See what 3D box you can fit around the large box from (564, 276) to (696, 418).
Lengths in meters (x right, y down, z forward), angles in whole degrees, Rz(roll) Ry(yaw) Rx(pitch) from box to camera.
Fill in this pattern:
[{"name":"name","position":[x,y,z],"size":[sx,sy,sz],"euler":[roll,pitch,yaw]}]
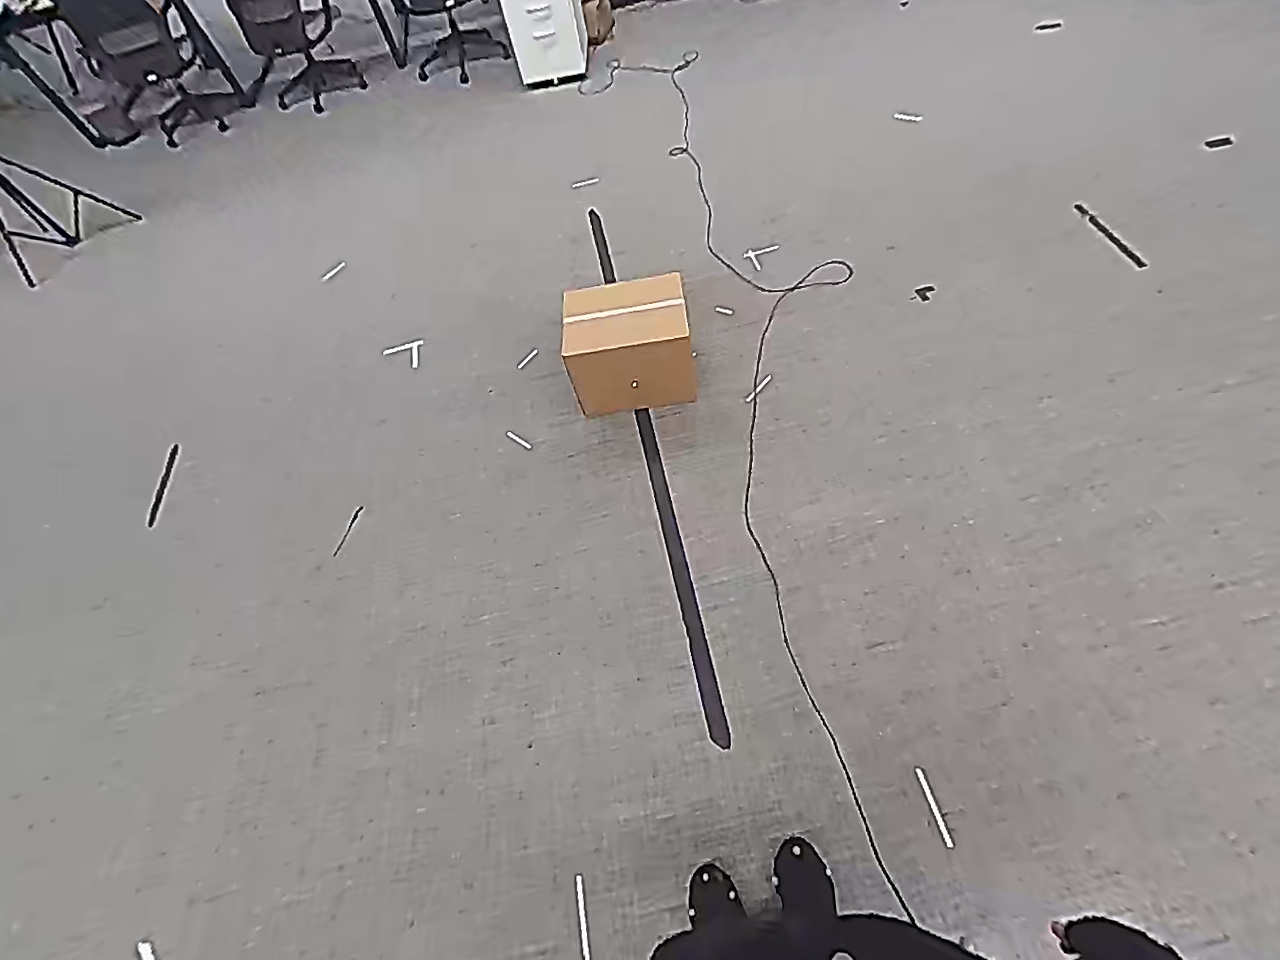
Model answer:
[{"name":"large box","position":[-0.031,-0.450,1.868],"size":[0.408,0.320,0.320],"euler":[-8,58,5]}]
